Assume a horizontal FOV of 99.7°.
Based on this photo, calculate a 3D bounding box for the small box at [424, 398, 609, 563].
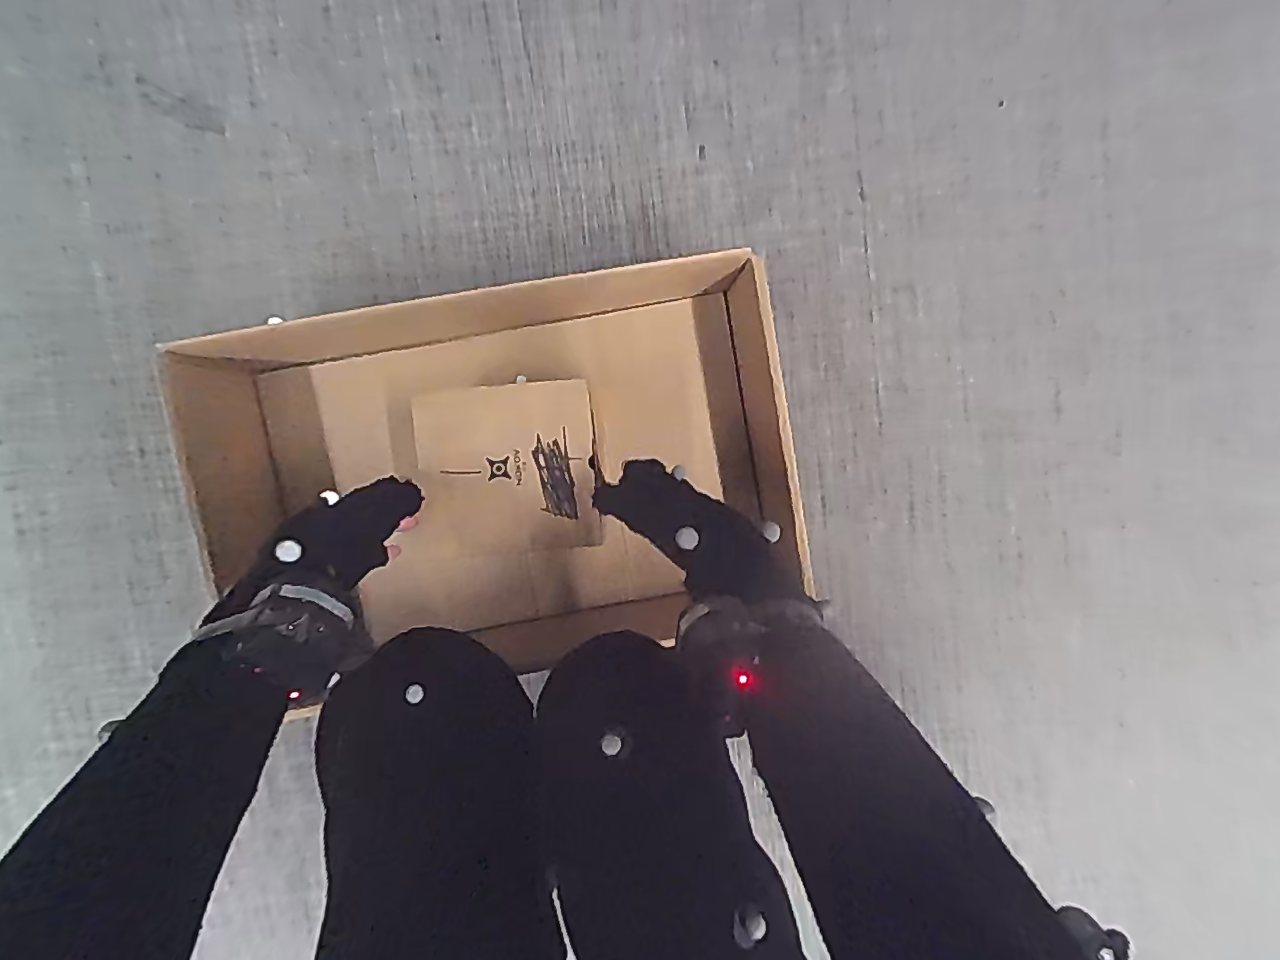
[{"bbox_3d":[-0.128,-0.004,0.631,0.179,0.176,0.168,-4,93,1],"label":"small box"}]
